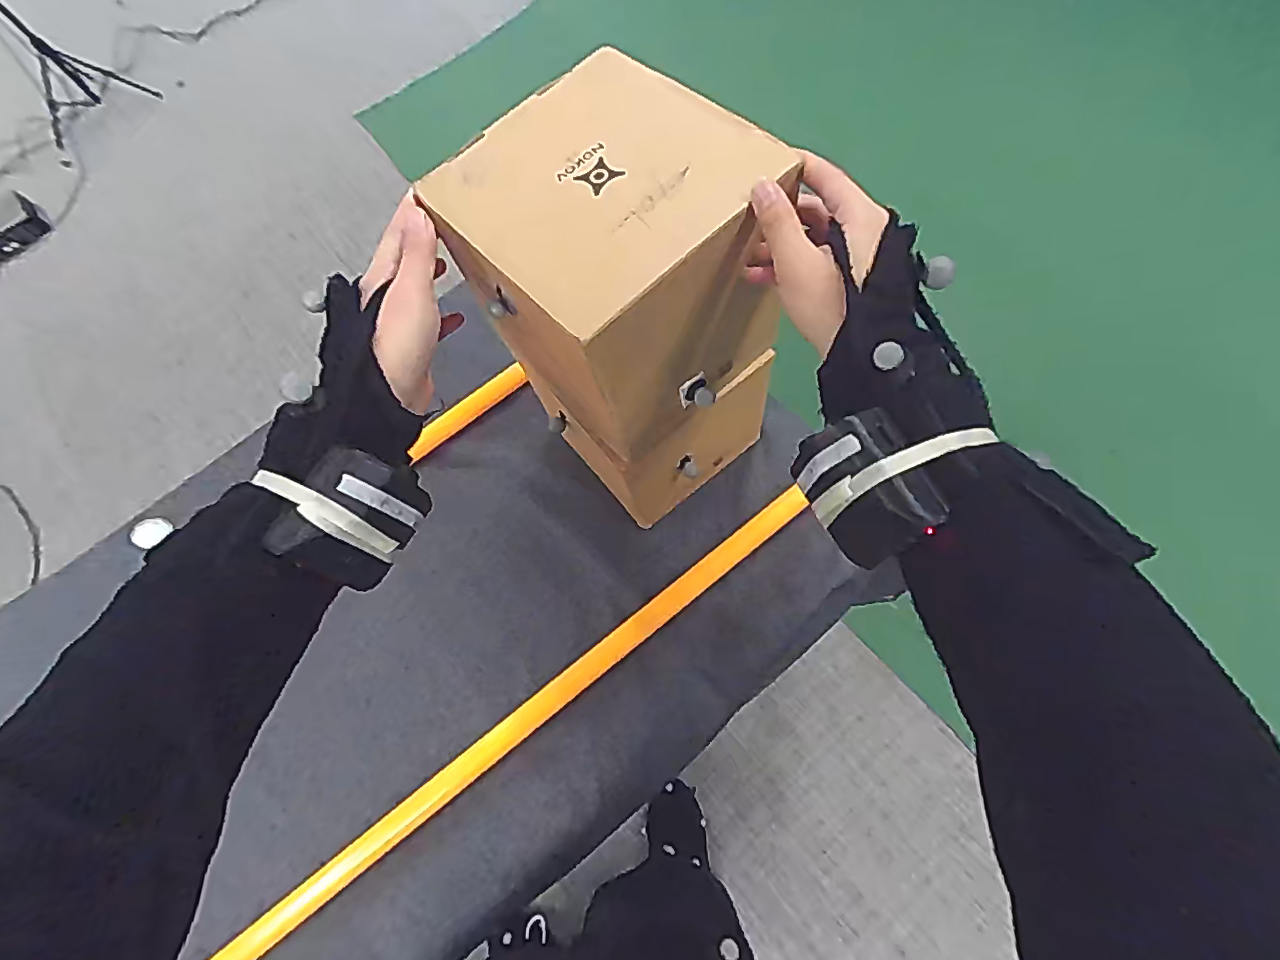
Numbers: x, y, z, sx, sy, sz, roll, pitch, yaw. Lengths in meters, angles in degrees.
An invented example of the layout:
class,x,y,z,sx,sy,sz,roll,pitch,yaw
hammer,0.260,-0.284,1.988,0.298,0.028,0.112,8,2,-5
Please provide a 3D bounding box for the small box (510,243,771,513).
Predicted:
class,x,y,z,sx,sy,sz,roll,pitch,yaw
small box,0.007,-0.086,0.542,0.168,0.176,0.179,-39,68,-8
